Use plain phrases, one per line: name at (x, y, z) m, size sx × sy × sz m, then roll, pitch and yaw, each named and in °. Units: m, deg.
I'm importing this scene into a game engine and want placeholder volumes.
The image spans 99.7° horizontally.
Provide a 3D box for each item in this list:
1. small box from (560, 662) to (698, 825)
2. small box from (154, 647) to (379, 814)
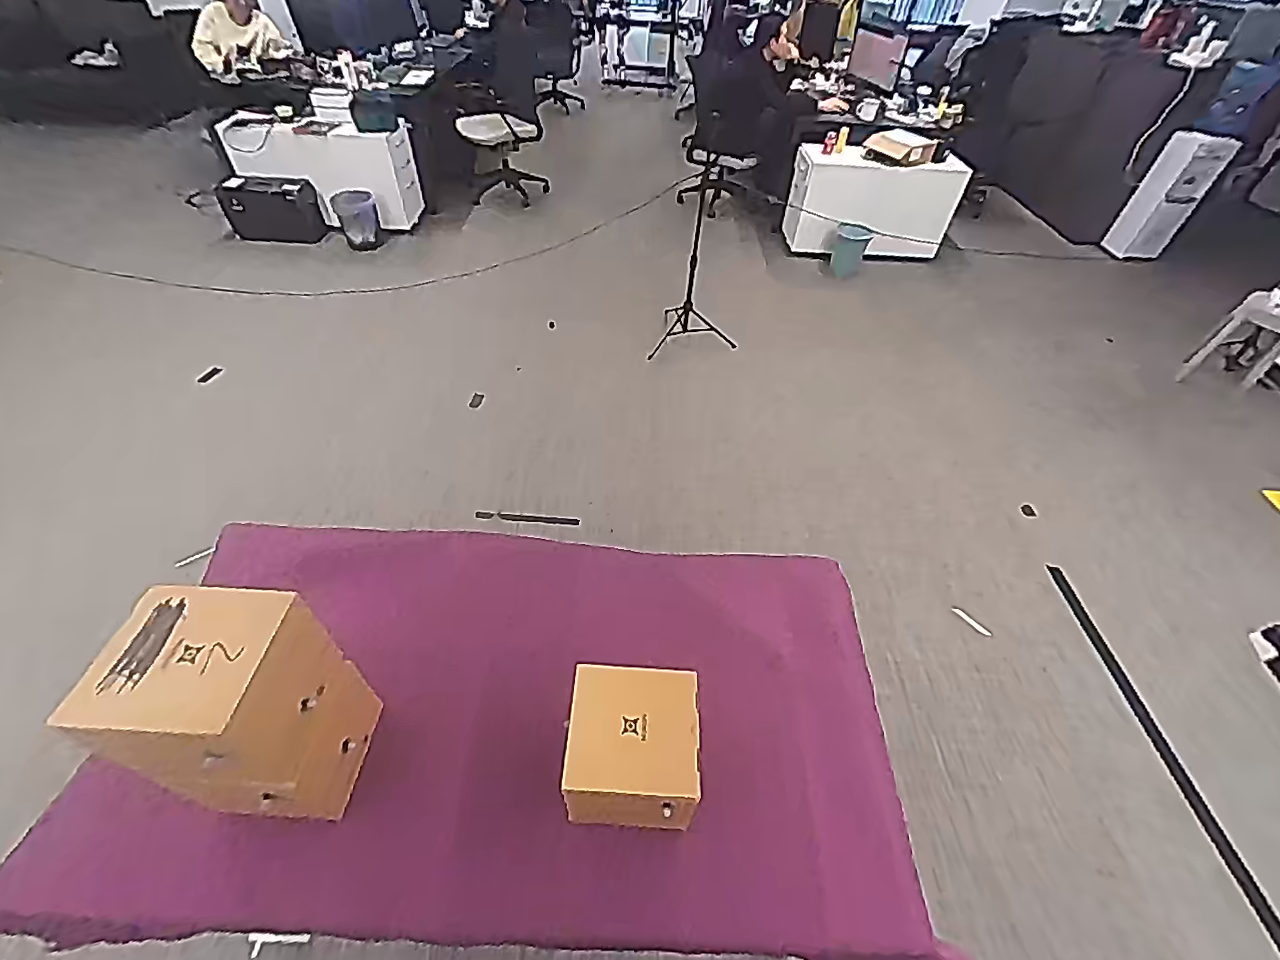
small box at (-0.013, 0.381, 0.778) m, size 0.179 × 0.176 × 0.168 m, roll 4°, pitch 46°, yaw 0°
small box at (-0.501, 0.356, 0.763) m, size 0.179 × 0.176 × 0.168 m, roll 5°, pitch 47°, yaw 0°
